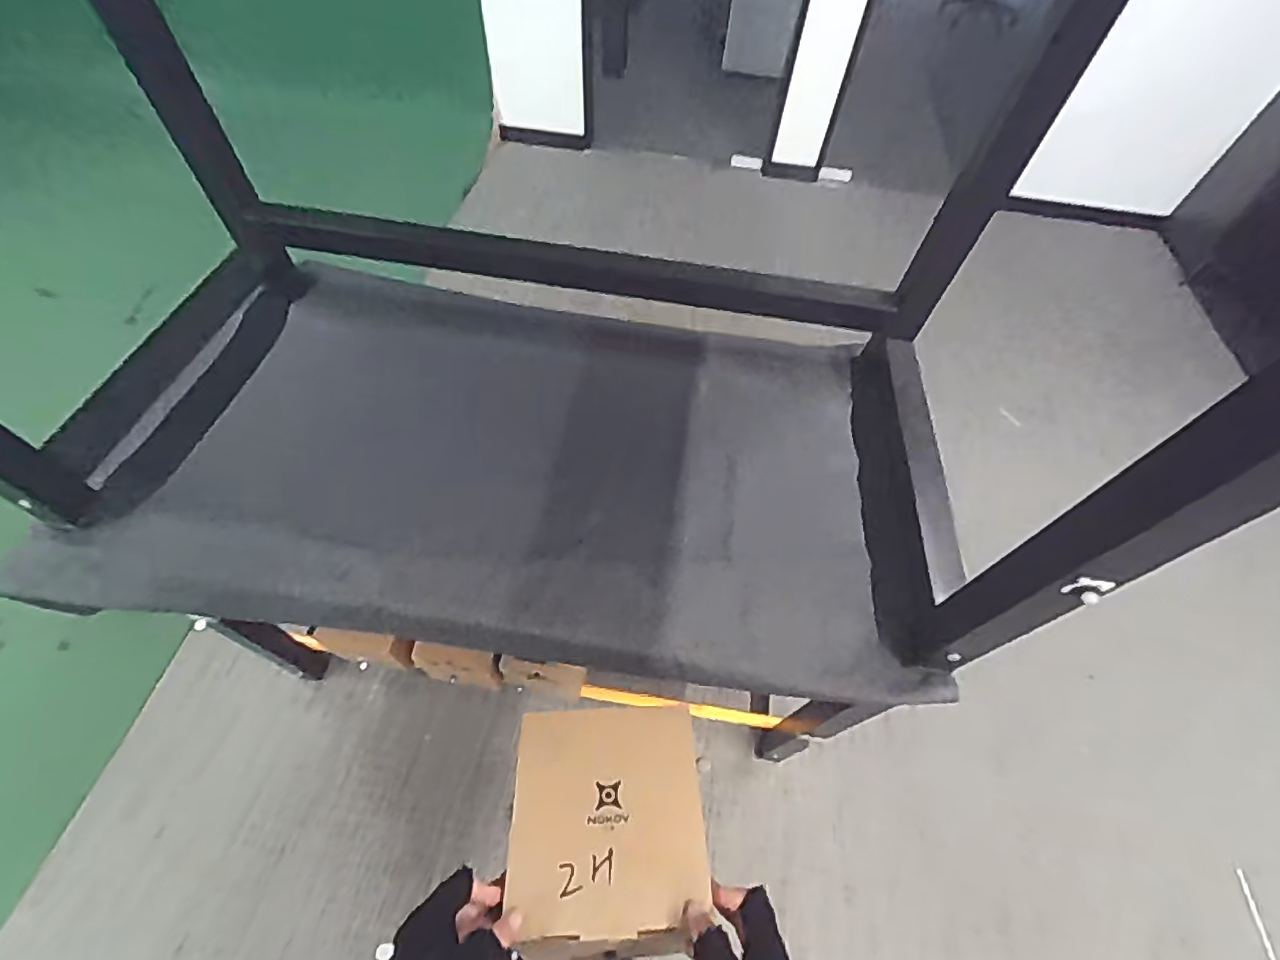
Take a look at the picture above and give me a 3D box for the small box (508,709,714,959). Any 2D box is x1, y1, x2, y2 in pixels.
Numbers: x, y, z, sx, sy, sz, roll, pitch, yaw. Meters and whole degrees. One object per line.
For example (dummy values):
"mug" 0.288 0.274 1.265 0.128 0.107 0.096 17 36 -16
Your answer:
"small box" -0.025 0.351 0.537 0.168 0.176 0.179 -2 44 -1
